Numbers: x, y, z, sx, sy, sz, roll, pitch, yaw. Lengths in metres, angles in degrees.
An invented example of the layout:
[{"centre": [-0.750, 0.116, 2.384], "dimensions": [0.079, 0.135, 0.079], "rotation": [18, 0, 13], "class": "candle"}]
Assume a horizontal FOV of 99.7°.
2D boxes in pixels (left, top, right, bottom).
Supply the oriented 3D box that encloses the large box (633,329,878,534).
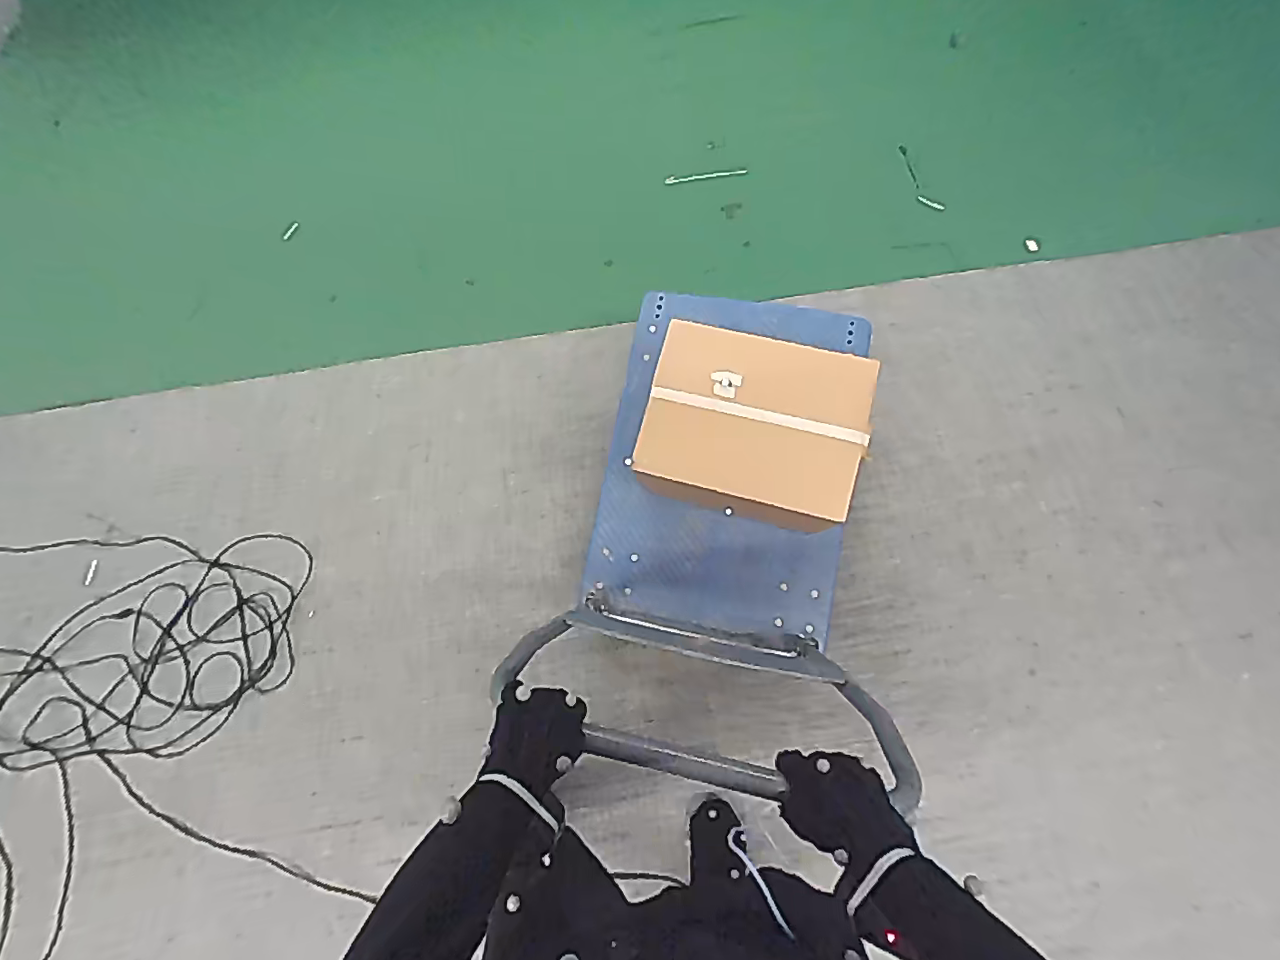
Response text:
[{"centre": [0.235, -0.083, 1.156], "dimensions": [0.408, 0.320, 0.320], "rotation": [15, 82, 10], "class": "large box"}]
